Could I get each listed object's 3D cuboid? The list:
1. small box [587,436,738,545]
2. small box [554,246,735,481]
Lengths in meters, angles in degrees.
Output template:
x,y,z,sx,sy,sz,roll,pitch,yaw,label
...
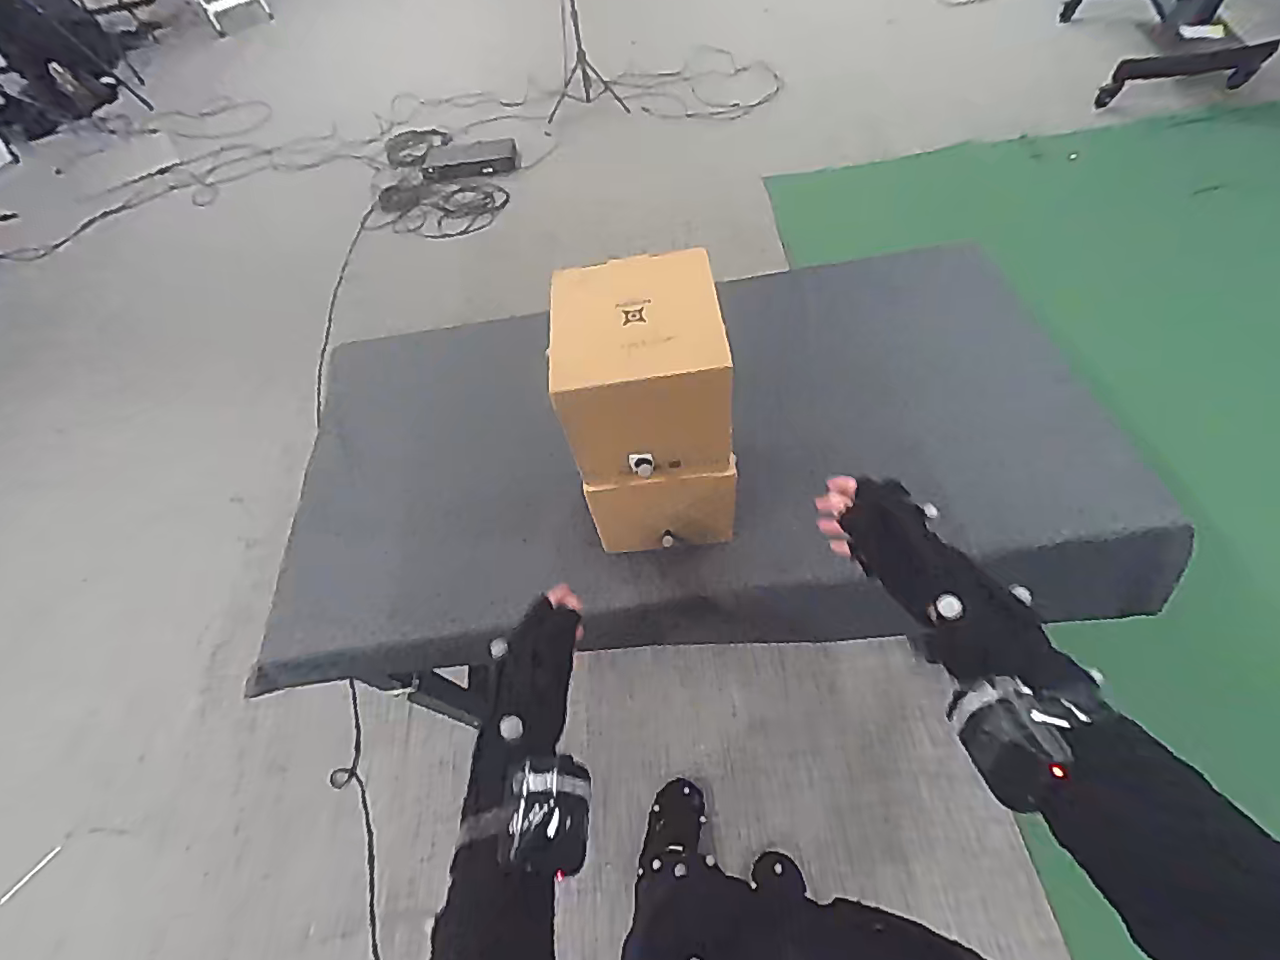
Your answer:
x,y,z,sx,sy,sz,roll,pitch,yaw,label
0.027,-0.026,0.725,0.179,0.176,0.168,-6,57,3,small box
0.007,-0.121,0.594,0.168,0.176,0.179,-9,58,4,small box
